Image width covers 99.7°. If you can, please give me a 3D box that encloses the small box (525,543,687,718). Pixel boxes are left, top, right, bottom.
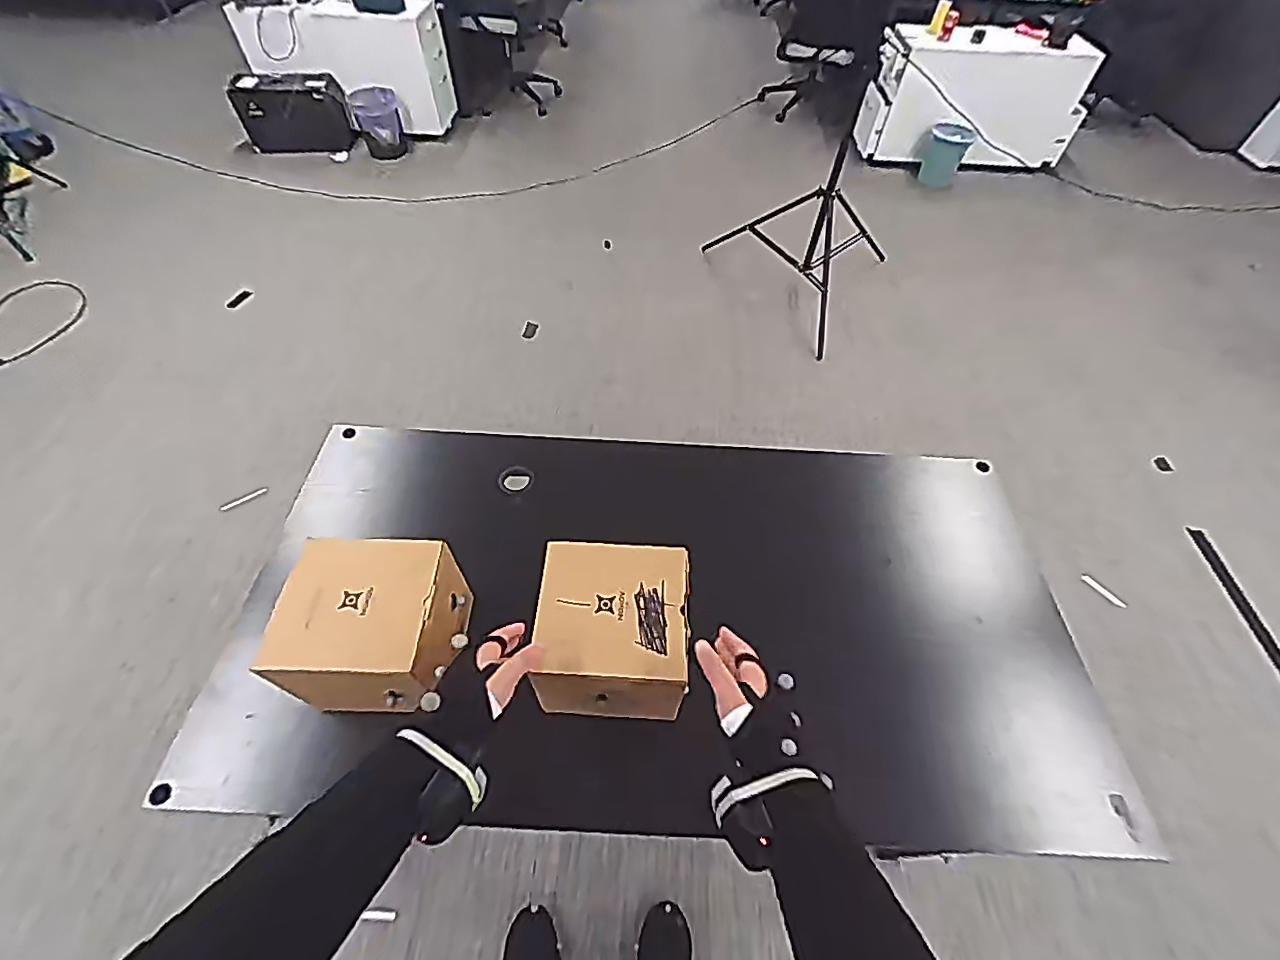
[{"bbox_3d":[-0.035,0.198,0.694,0.179,0.176,0.168,3,53,1],"label":"small box"}]

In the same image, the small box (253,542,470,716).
[{"bbox_3d":[-0.330,0.193,0.689,0.179,0.176,0.168,0,52,-1],"label":"small box"}]
